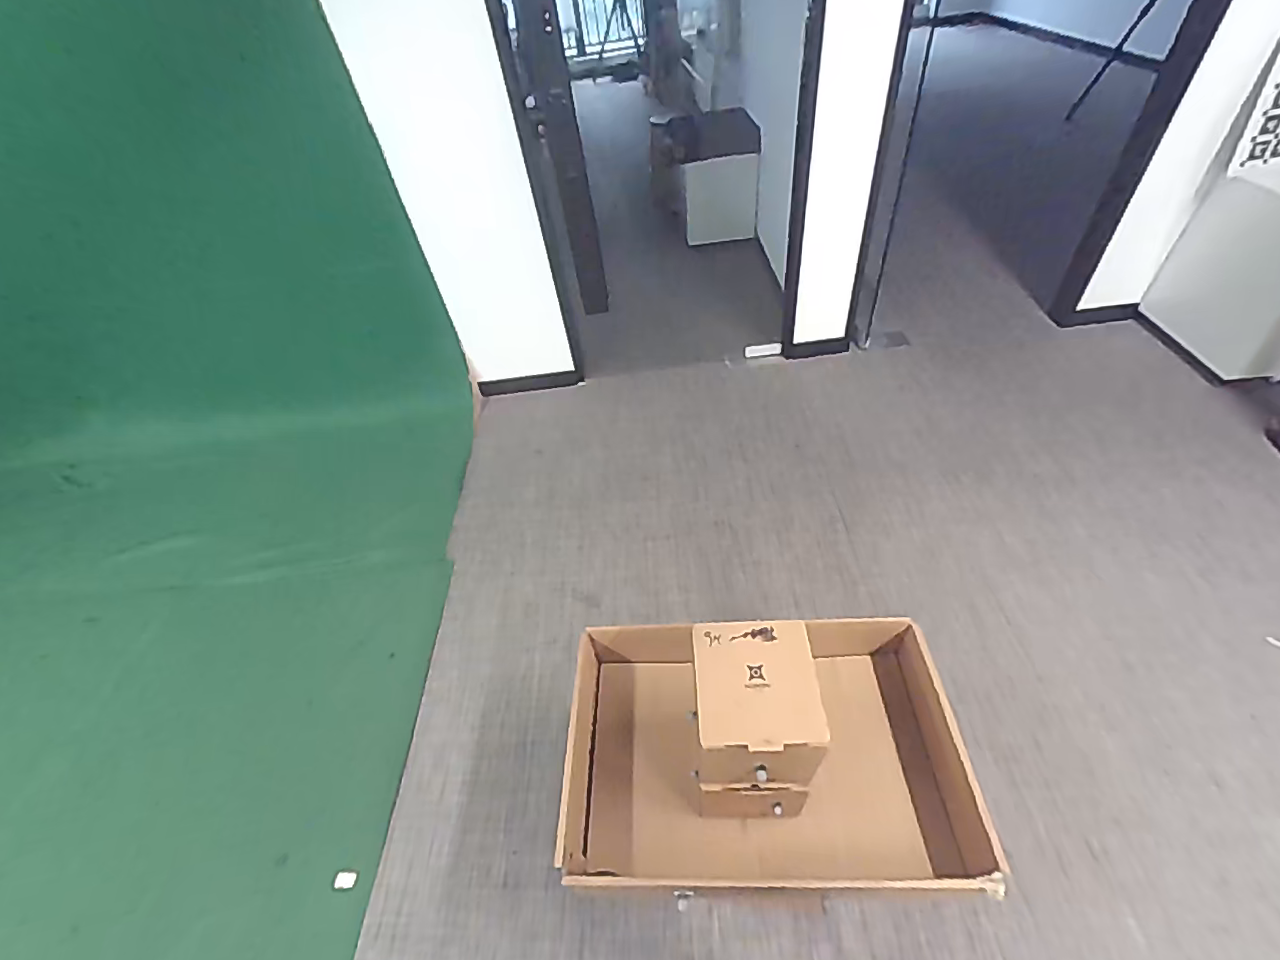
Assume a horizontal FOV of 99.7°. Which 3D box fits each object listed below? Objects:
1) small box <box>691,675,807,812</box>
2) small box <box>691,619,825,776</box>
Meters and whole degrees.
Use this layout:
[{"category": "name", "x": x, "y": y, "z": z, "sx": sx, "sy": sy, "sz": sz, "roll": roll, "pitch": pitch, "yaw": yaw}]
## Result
[{"category": "small box", "x": 0.175, "y": 0.445, "z": 0.913, "sx": 0.168, "sy": 0.176, "sz": 0.179, "roll": -3, "pitch": 44, "yaw": 3}, {"category": "small box", "x": 0.163, "y": 0.326, "z": 0.801, "sx": 0.168, "sy": 0.176, "sz": 0.179, "roll": -3, "pitch": 47, "yaw": 4}]
